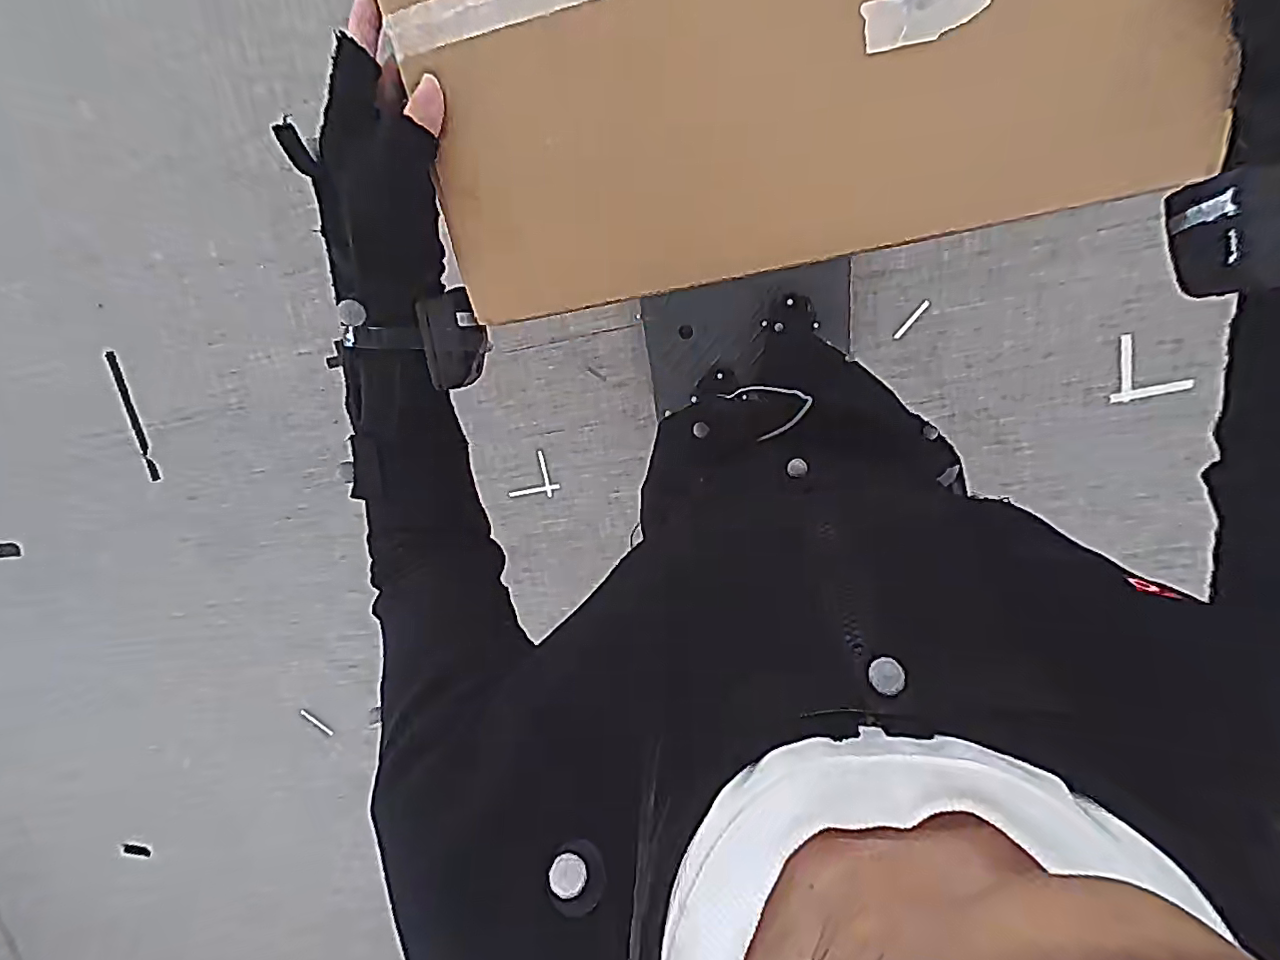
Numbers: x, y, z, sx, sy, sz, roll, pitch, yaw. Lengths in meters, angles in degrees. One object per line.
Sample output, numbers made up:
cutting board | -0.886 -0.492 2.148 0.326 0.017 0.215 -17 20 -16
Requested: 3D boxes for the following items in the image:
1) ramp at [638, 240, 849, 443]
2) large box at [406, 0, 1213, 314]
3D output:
ramp | 0.220 -0.573 1.226 0.509 0.206 0.991 -8 104 8
large box | 0.081 -0.333 0.405 0.408 0.320 0.320 -8 111 11
